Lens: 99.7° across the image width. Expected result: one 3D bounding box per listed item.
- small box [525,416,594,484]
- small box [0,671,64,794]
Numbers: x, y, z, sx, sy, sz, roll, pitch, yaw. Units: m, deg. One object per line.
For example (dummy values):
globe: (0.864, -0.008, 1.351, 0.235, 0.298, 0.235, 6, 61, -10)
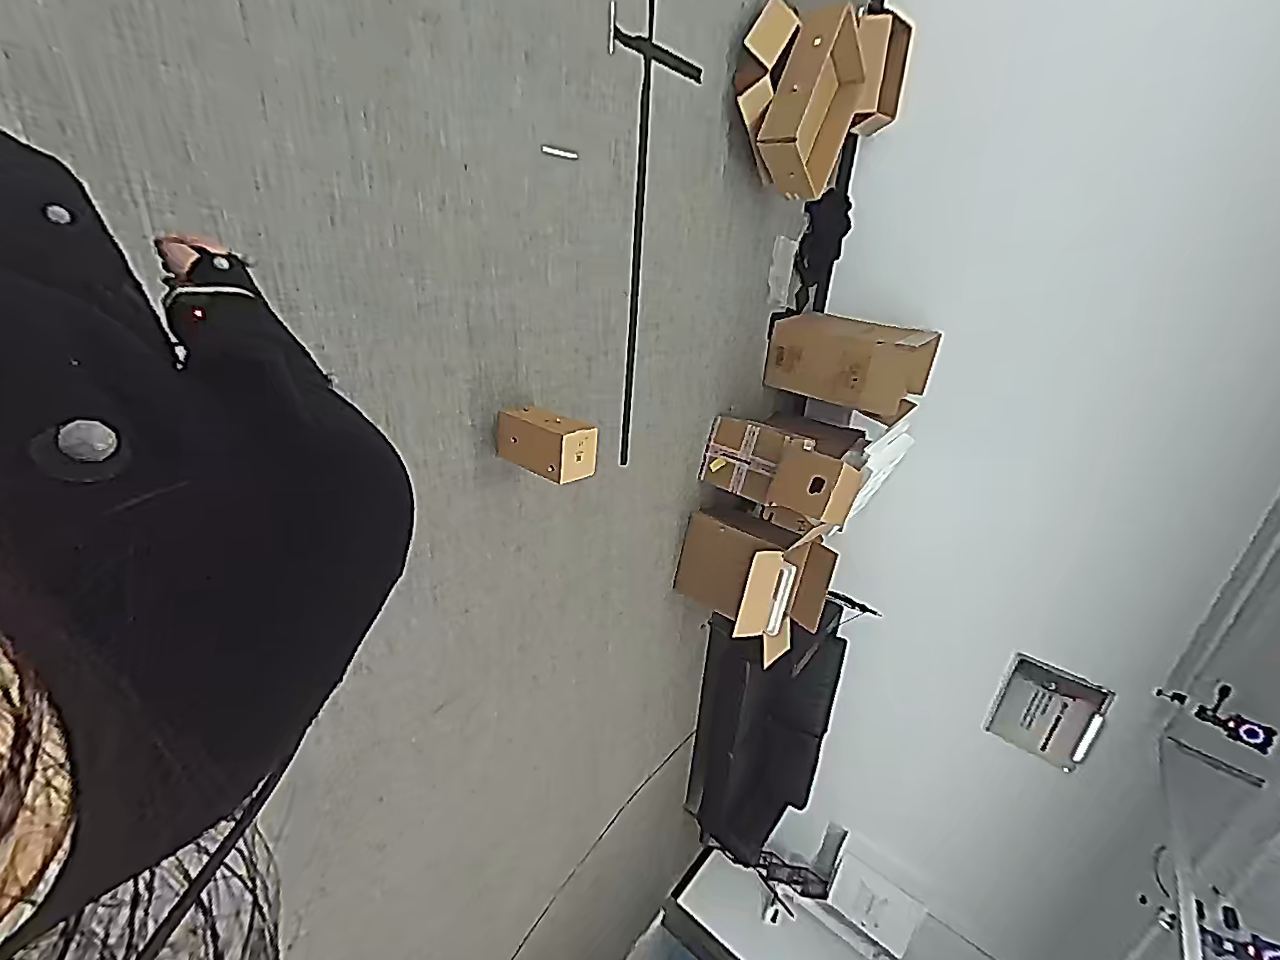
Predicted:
small box: (-0.279, -0.107, 1.845, 0.168, 0.176, 0.179, -19, 122, -49)
small box: (-1.301, 0.508, 1.069, 0.168, 0.176, 0.179, -26, 129, -44)
